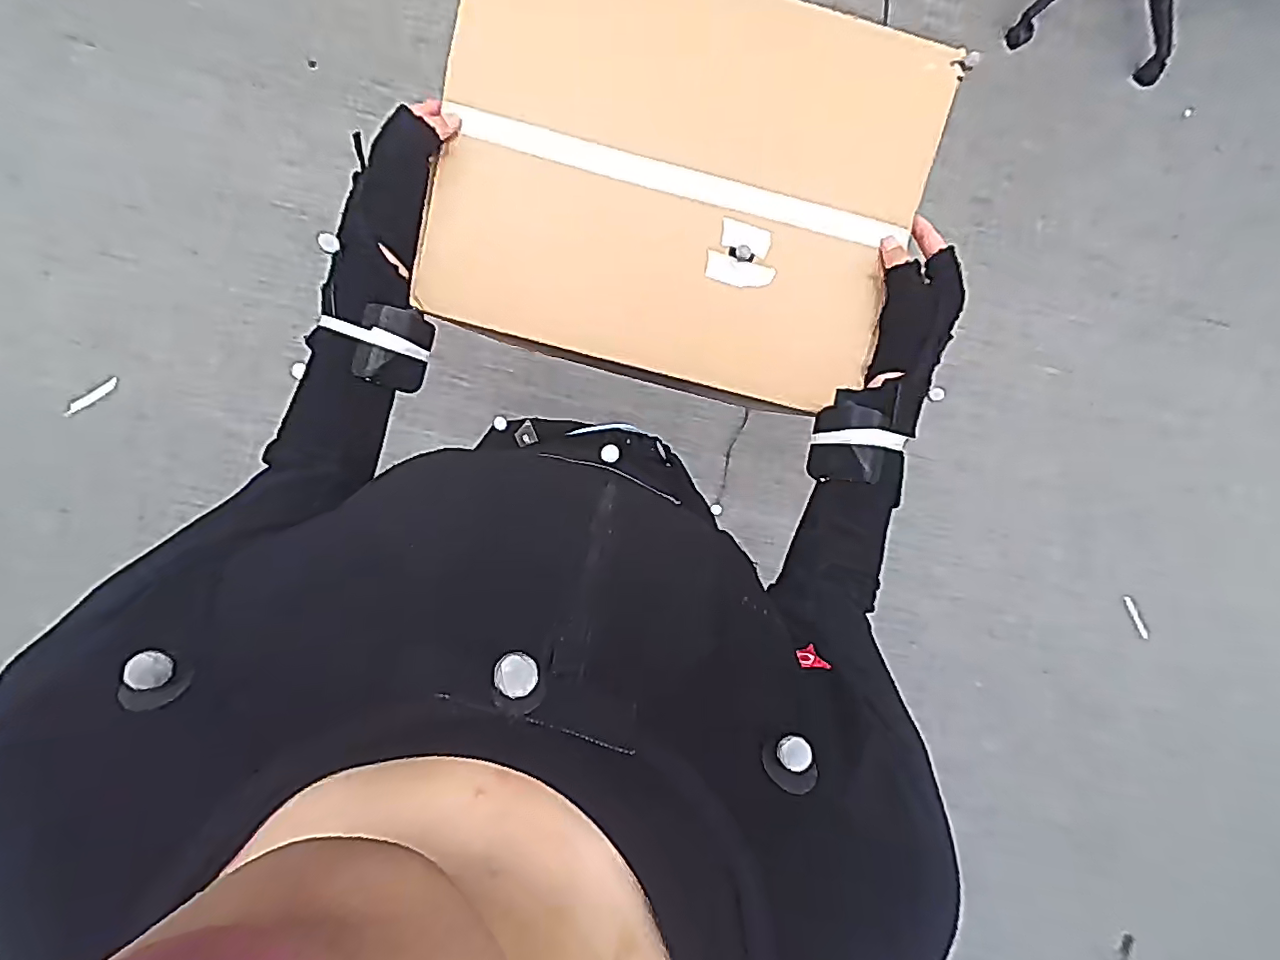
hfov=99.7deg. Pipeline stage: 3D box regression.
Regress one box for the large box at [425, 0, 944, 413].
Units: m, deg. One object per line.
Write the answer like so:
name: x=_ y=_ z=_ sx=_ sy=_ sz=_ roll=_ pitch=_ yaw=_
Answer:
large box: x=0.027 y=-0.275 z=0.616 sx=0.408 sy=0.320 sz=0.320 roll=14 pitch=99 yaw=-5
